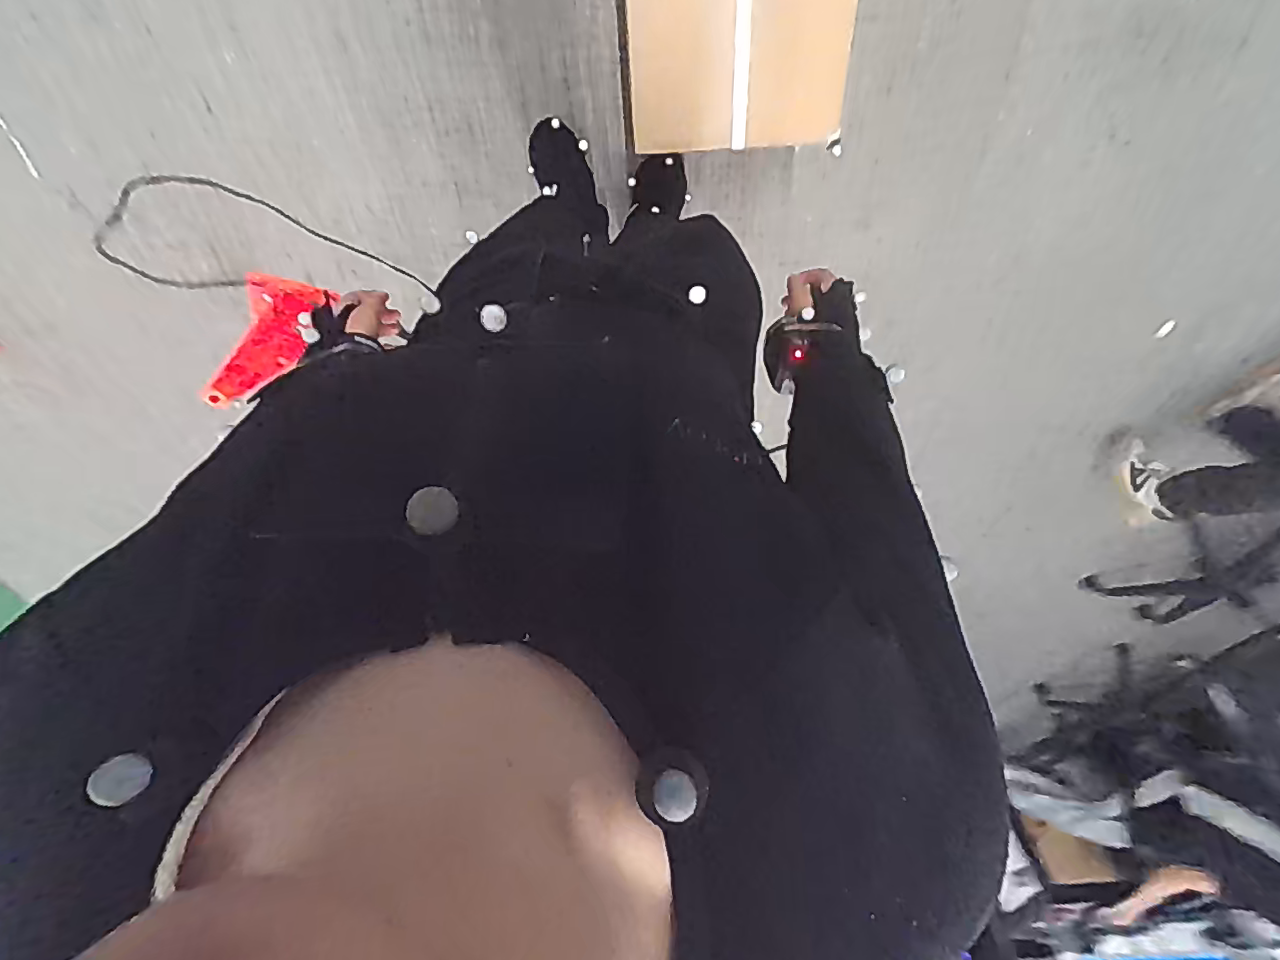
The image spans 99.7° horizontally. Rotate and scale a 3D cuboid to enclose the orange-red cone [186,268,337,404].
[{"bbox_3d":[-0.812,-0.266,1.127,0.198,0.360,0.199,14,128,-12],"label":"orange-red cone"}]
